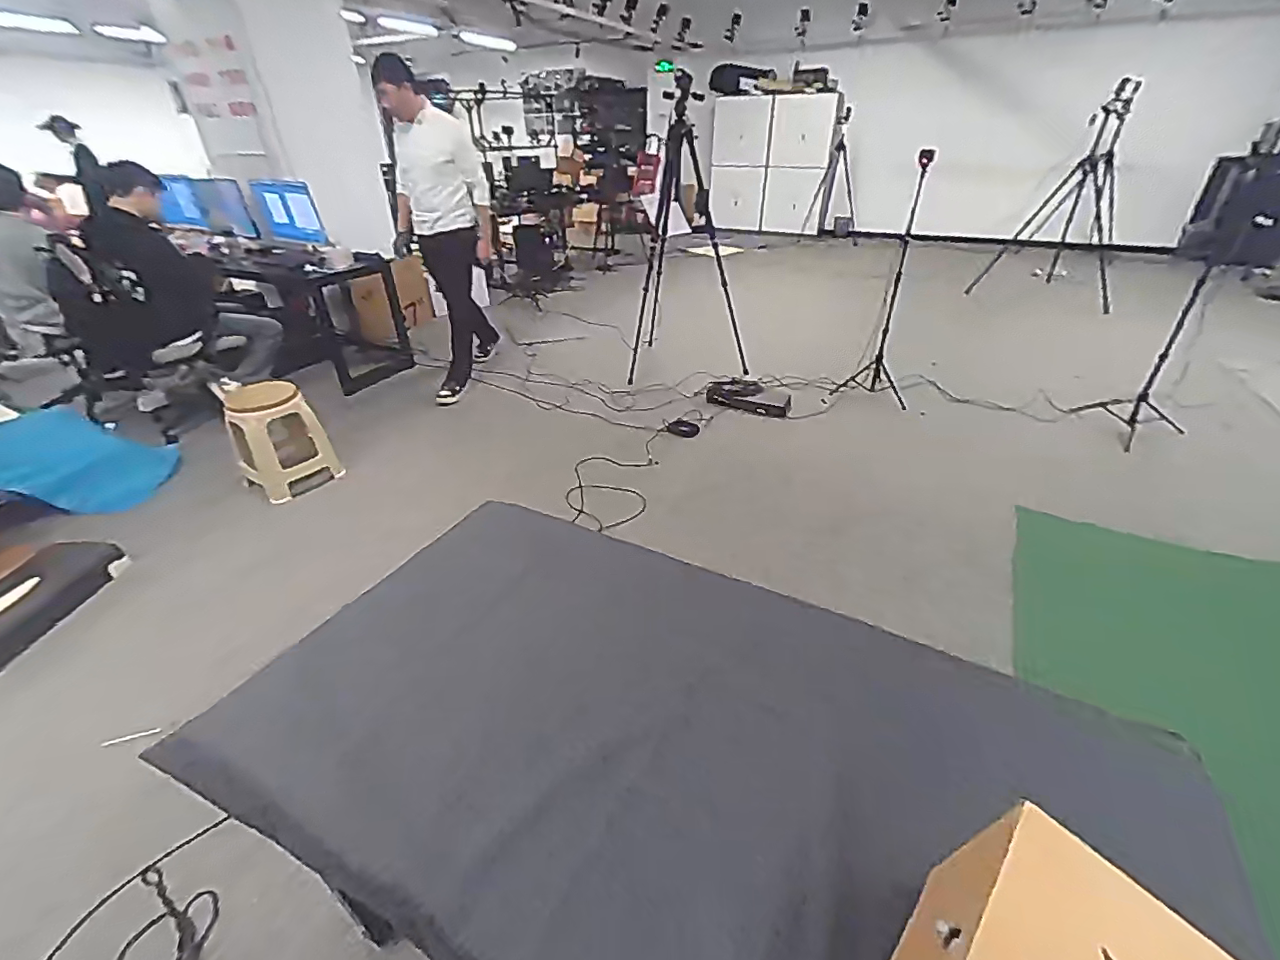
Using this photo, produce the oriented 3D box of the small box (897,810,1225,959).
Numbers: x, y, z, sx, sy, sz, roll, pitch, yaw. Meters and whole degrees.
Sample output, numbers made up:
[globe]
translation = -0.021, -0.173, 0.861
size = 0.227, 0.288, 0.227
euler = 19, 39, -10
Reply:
[small box]
translation = 0.316, 0.412, 0.417
size = 0.179, 0.176, 0.168
euler = -26, 51, -38
